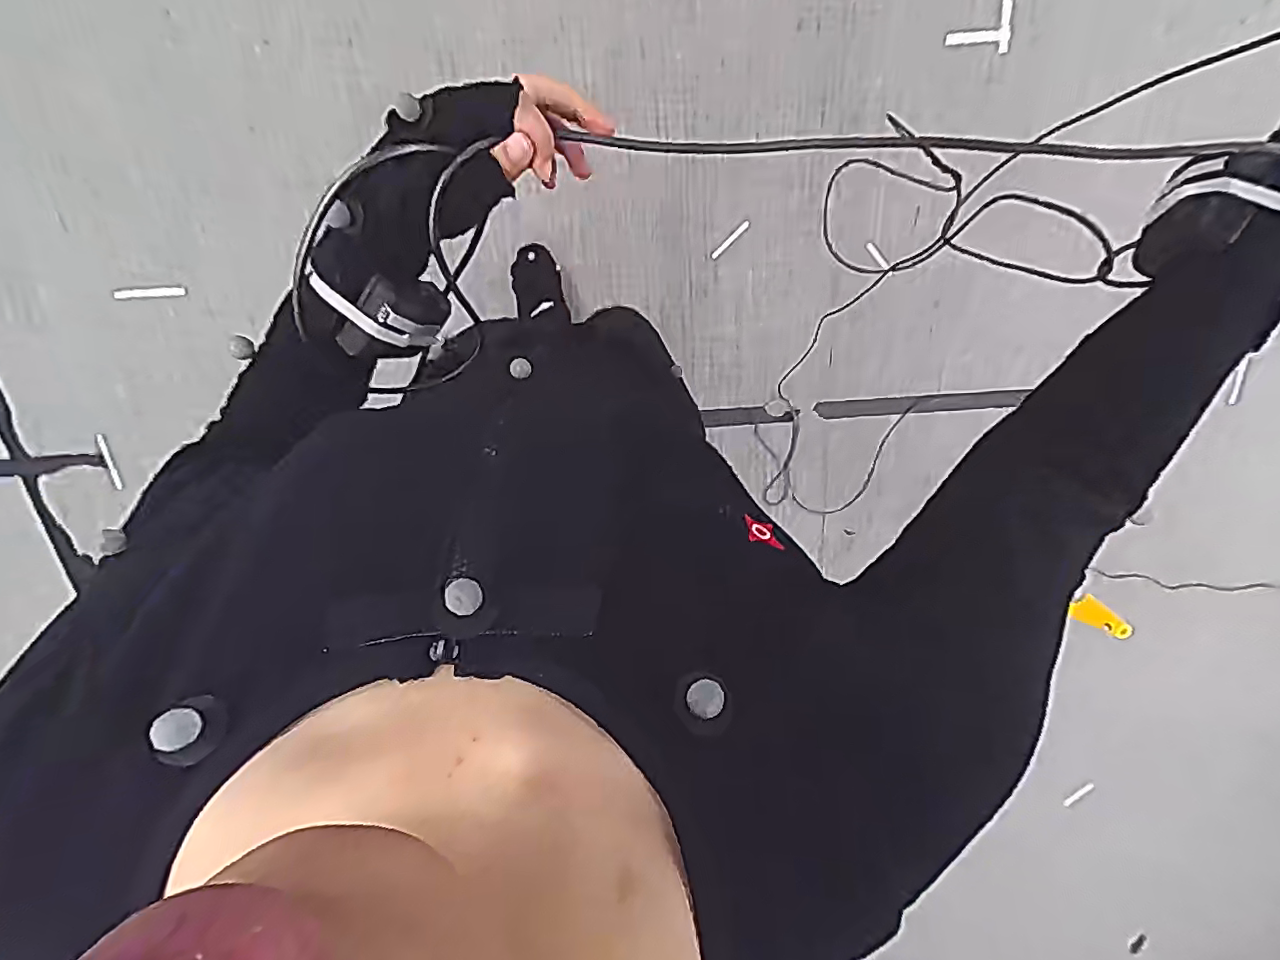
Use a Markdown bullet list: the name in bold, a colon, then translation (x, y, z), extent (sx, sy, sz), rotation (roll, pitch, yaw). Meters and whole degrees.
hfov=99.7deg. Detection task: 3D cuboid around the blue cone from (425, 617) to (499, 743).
- **blue cone**: translation (-0.507, 0.554, 1.450), extent (0.193, 0.380, 0.192), rotation (-10, 110, -3)
